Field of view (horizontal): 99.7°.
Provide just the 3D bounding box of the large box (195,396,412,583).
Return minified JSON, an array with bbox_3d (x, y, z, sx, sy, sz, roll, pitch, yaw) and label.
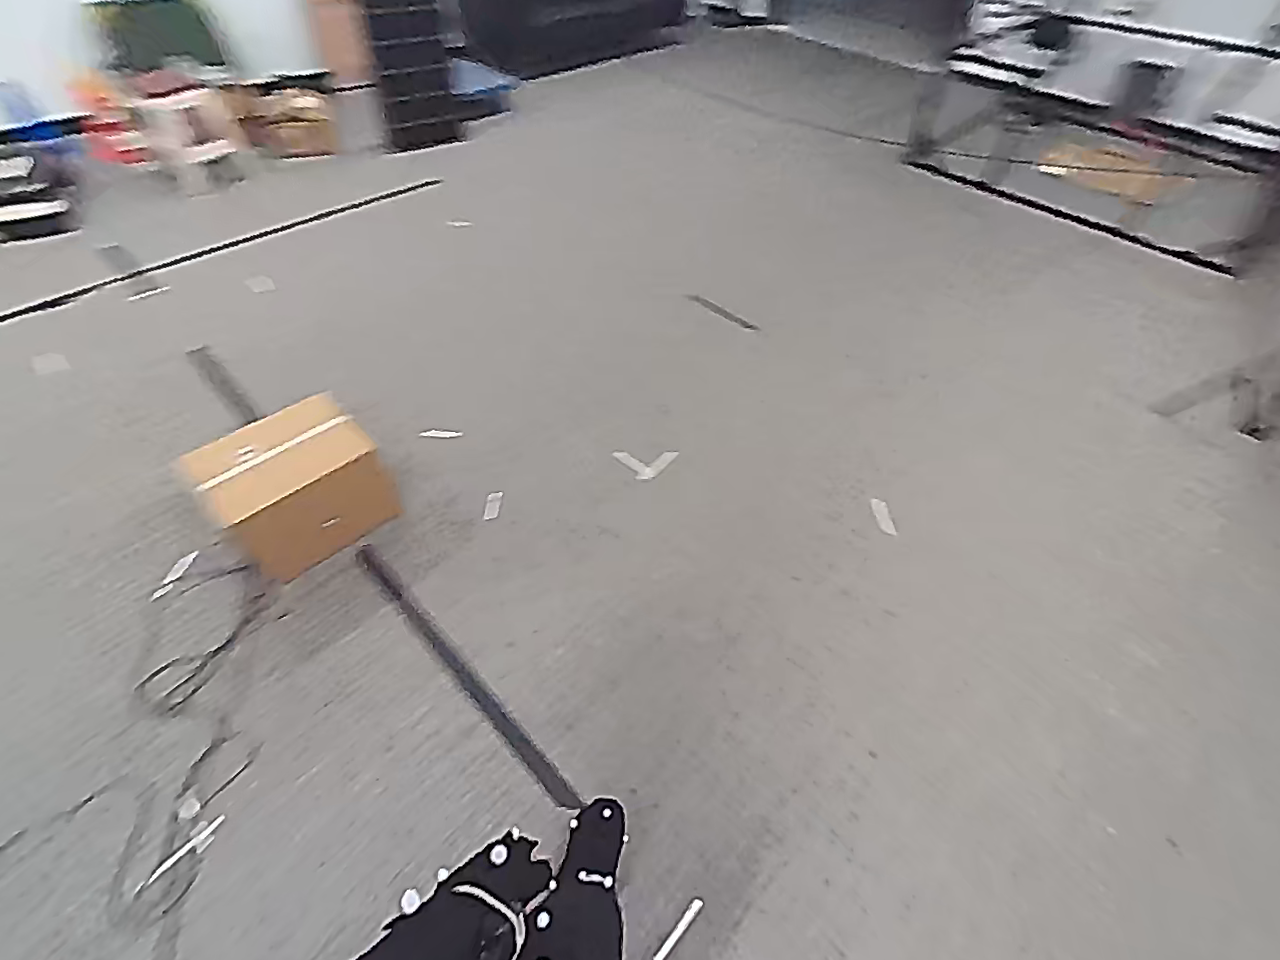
[{"bbox_3d":[-0.979,0.024,1.625,0.320,0.320,0.408,38,59,24],"label":"large box"}]
